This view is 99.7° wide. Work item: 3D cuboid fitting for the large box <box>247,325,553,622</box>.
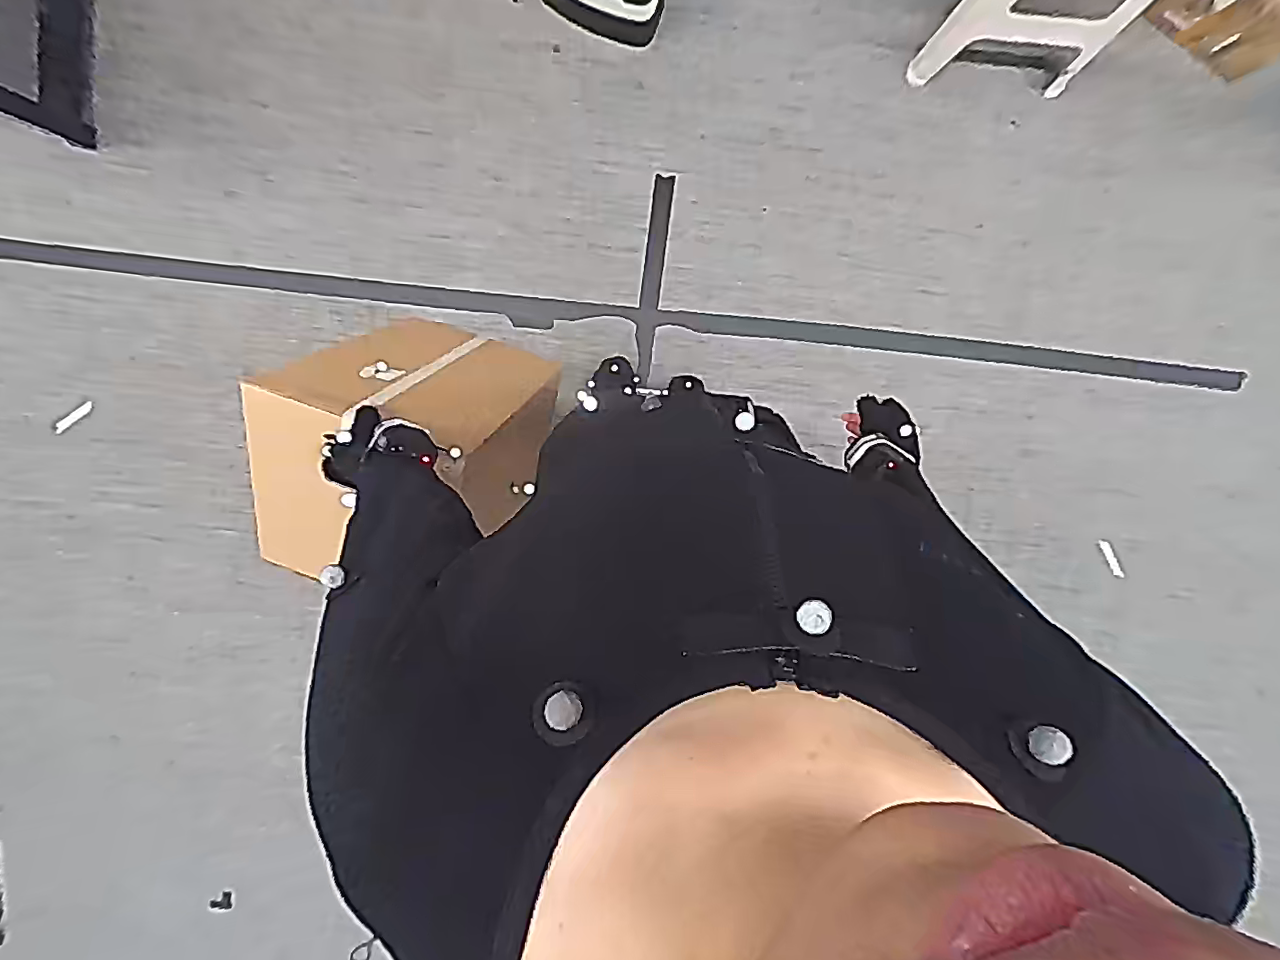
[{"bbox_3d":[-0.380,-0.035,0.949,0.320,0.408,0.320,17,121,2],"label":"large box"}]
